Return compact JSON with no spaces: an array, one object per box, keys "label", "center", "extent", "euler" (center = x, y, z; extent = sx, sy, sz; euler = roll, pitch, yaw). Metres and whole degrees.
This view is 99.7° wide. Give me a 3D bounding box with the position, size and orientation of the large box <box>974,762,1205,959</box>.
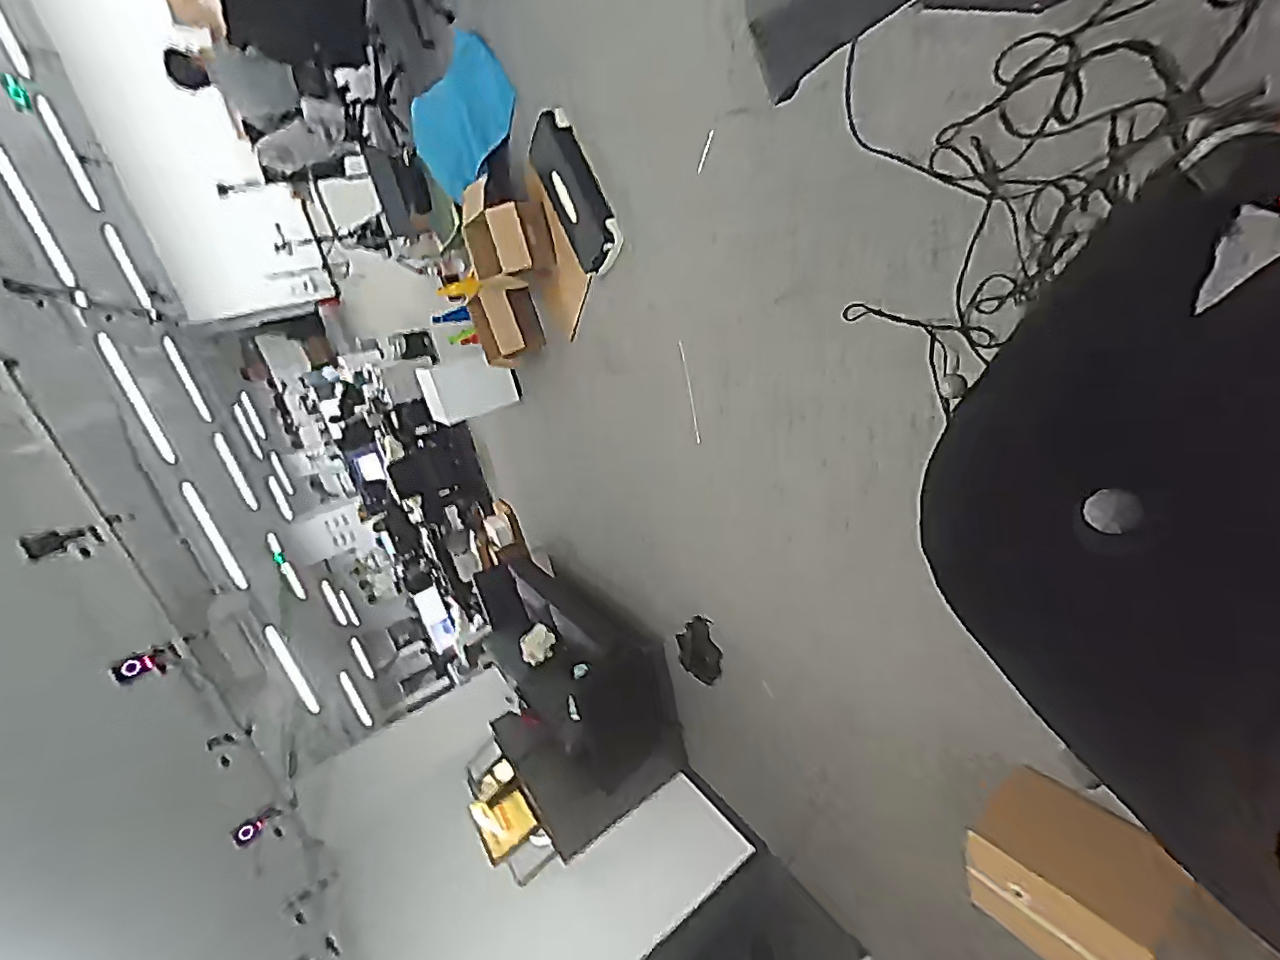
[{"label":"large box","center":[1.208,1.084,1.478],"extent":[0.408,0.320,0.320],"euler":[19,128,57]}]
